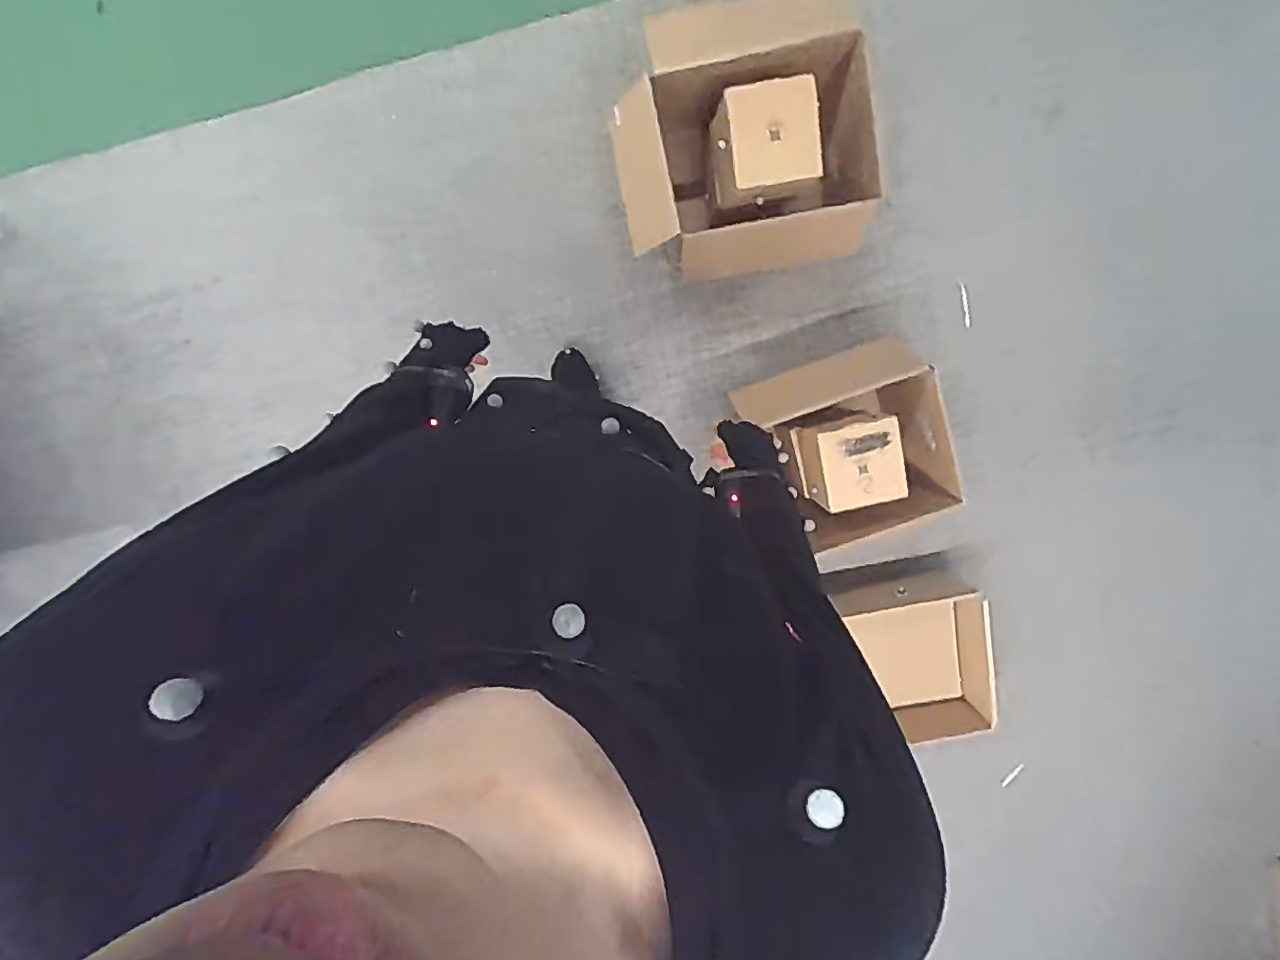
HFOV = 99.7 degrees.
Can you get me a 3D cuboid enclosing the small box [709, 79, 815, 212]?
[{"bbox_3d":[0.240,-0.660,1.094,0.168,0.176,0.179,-10,101,0],"label":"small box"}]
